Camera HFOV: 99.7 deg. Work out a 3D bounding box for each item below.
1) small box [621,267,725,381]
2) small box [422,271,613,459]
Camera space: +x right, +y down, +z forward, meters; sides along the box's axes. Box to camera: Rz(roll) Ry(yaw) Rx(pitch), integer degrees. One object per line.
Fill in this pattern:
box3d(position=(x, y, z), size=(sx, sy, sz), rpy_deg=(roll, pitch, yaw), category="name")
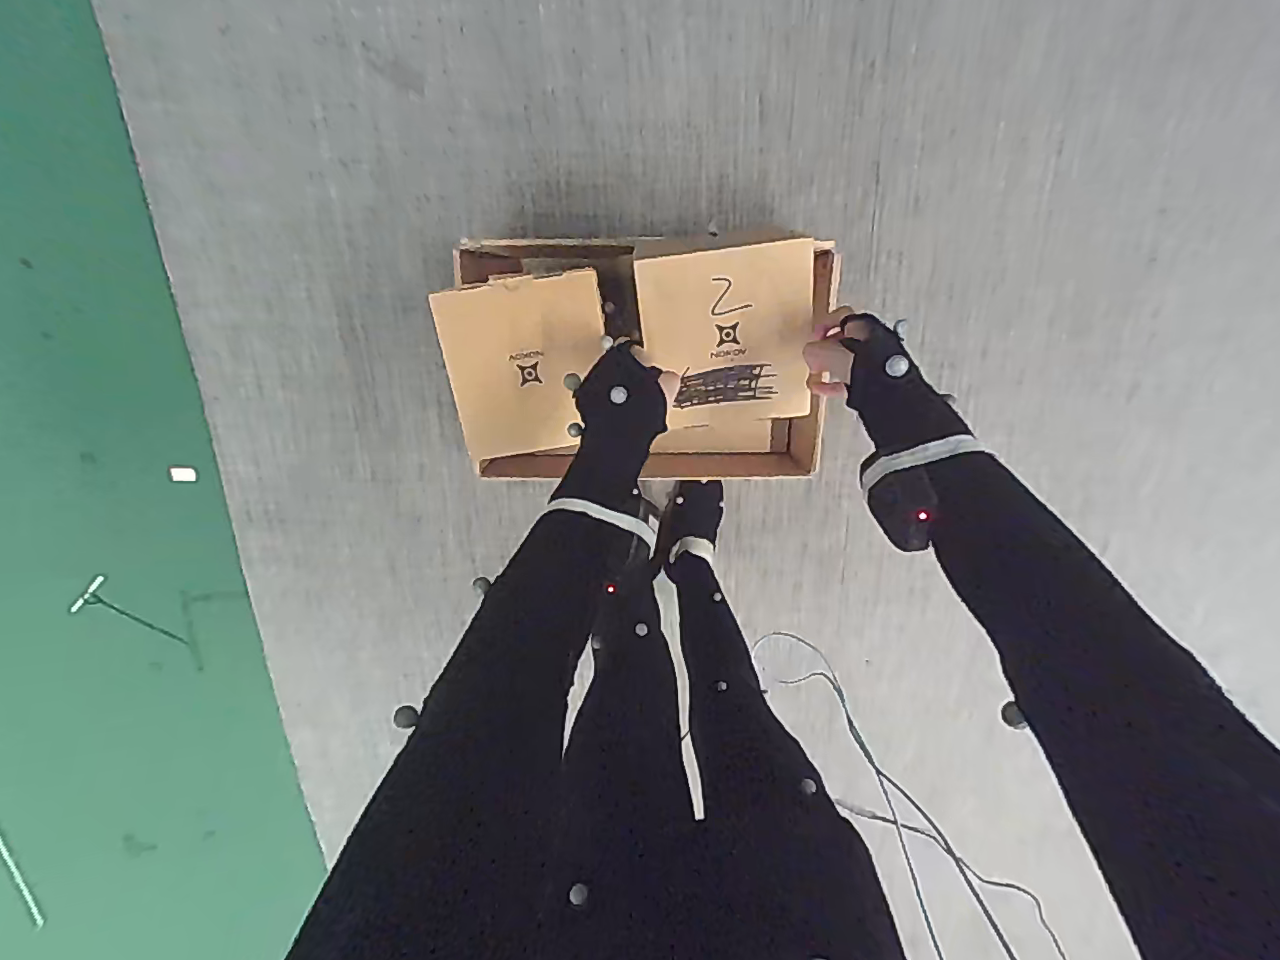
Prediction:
box3d(position=(0.051, -0.269, 0.937), size=(0.168, 0.176, 0.179), rpy_deg=(-1, 108, 0), category="small box")
box3d(position=(-0.124, -0.139, 0.629), size=(0.168, 0.176, 0.179), rpy_deg=(-8, 108, 1), category="small box")
